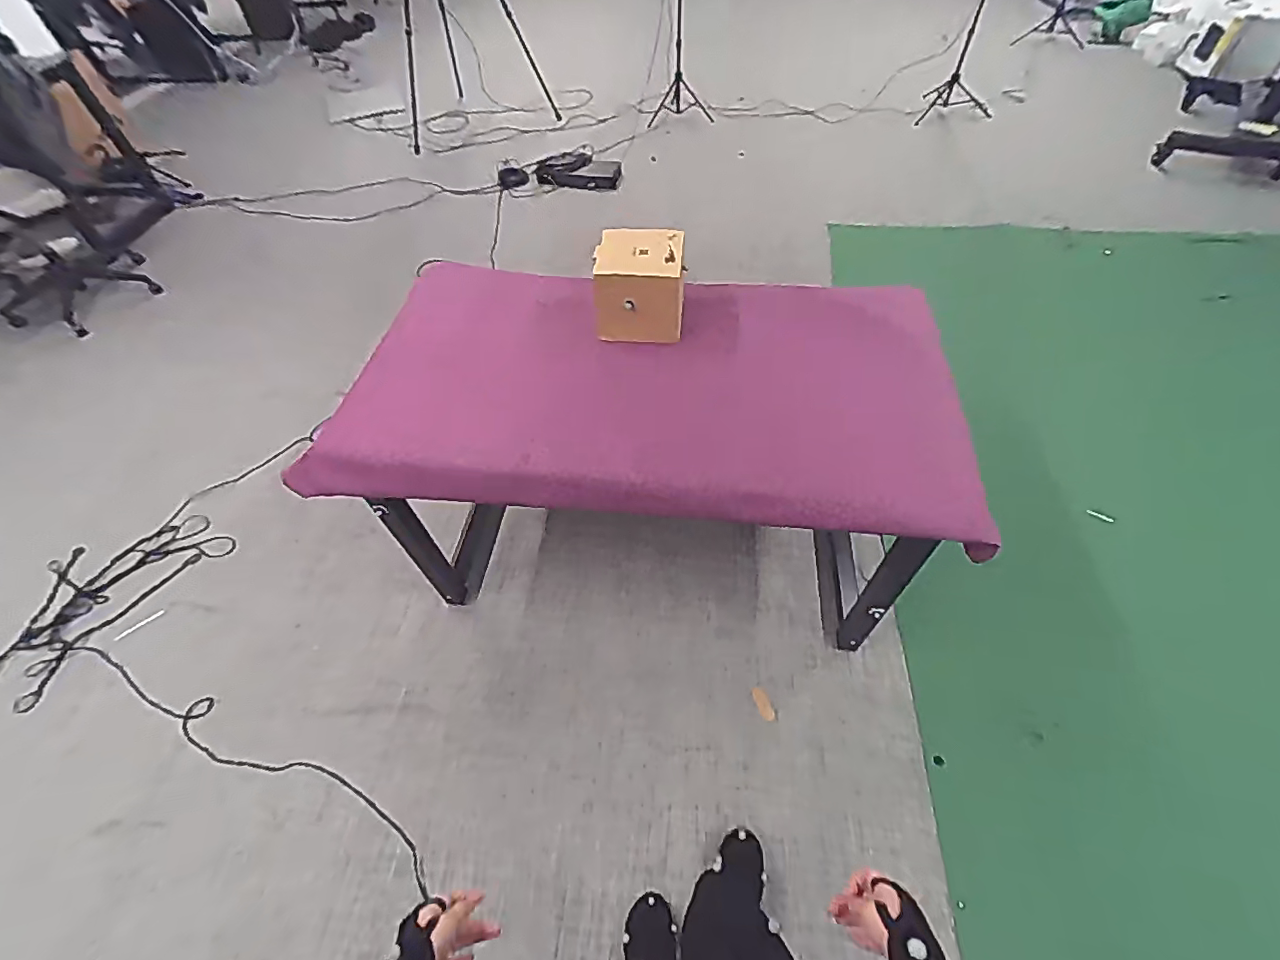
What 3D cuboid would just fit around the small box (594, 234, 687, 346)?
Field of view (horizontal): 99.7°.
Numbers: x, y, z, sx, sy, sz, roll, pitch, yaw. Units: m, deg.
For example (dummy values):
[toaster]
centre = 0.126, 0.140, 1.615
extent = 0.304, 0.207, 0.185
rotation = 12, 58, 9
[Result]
[small box]
centre = 0.008, -0.404, 1.159
extent = 0.179, 0.176, 0.168
rotation = 3, 55, 6
